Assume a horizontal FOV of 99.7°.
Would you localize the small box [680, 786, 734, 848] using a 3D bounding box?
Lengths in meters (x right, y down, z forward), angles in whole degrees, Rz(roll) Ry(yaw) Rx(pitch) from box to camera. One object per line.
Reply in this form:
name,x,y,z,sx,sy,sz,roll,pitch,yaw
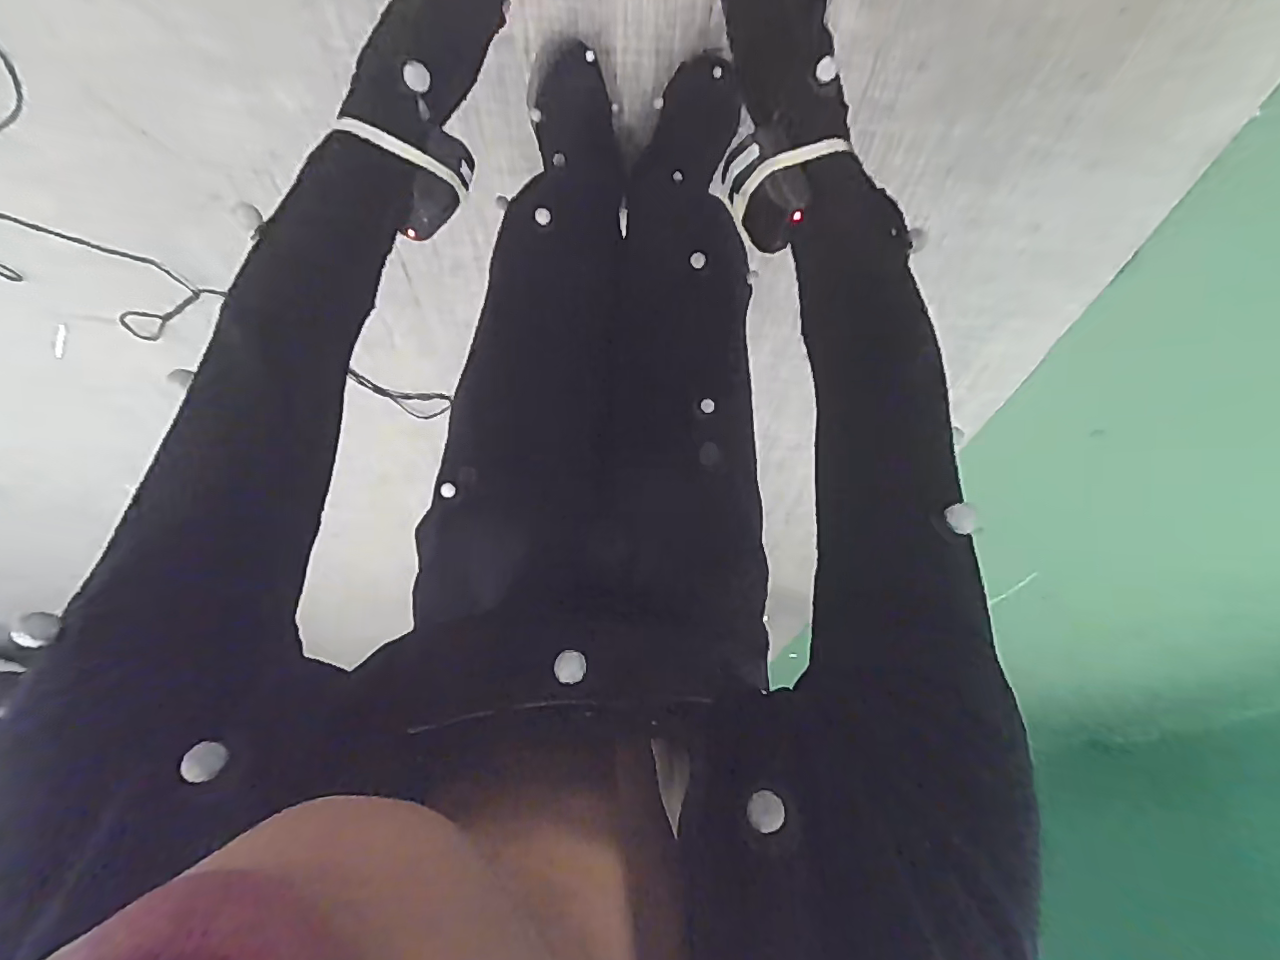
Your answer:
small box,0.233,1.186,1.904,0.168,0.176,0.179,3,146,0
